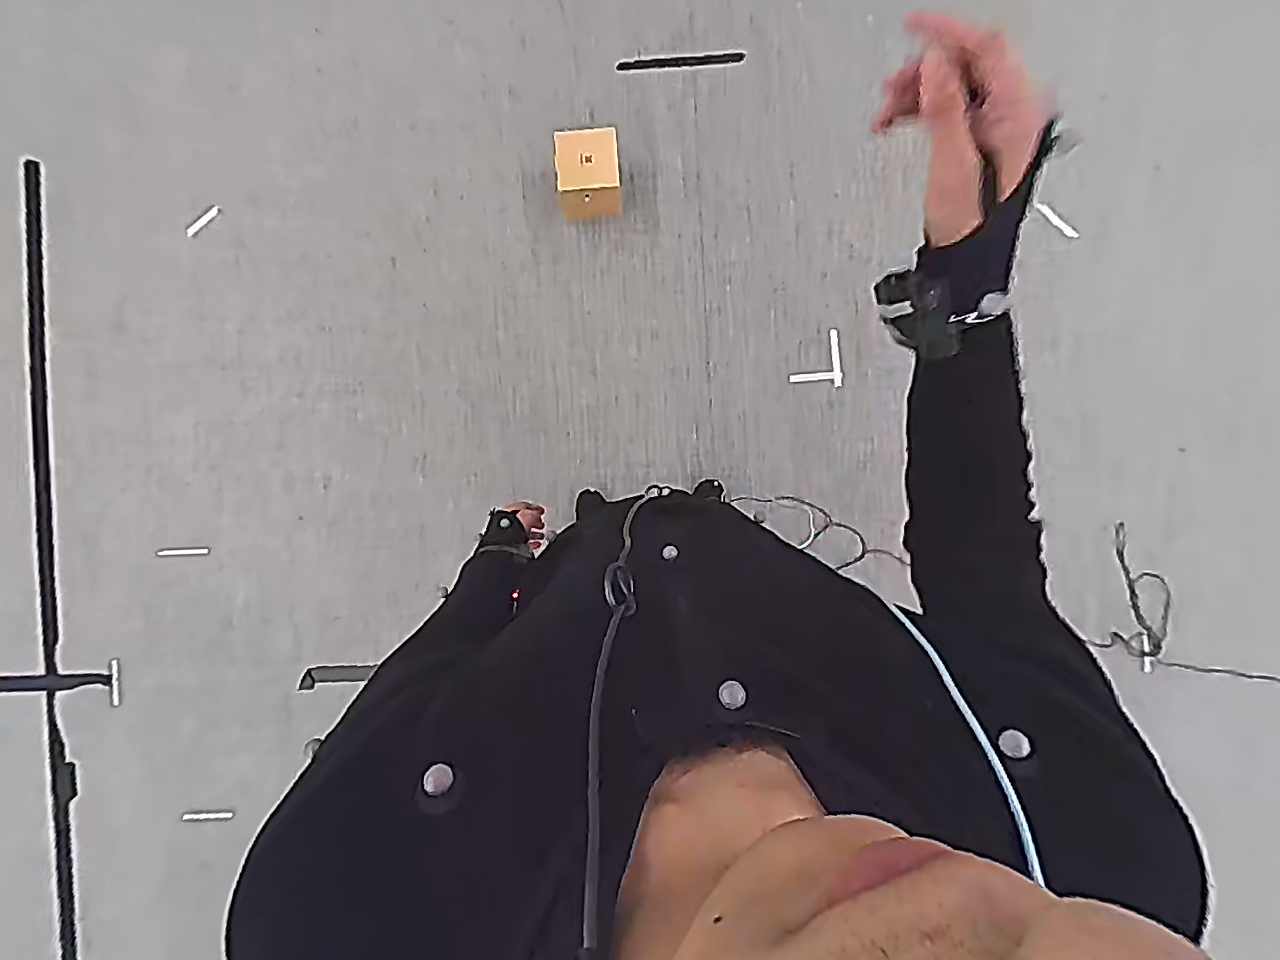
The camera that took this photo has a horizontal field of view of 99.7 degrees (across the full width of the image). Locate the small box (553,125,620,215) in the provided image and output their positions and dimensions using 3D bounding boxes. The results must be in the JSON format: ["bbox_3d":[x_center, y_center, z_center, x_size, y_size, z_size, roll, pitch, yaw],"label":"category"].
[{"bbox_3d":[-0.148,-0.894,1.571,0.179,0.176,0.168,-4,90,1],"label":"small box"}]
